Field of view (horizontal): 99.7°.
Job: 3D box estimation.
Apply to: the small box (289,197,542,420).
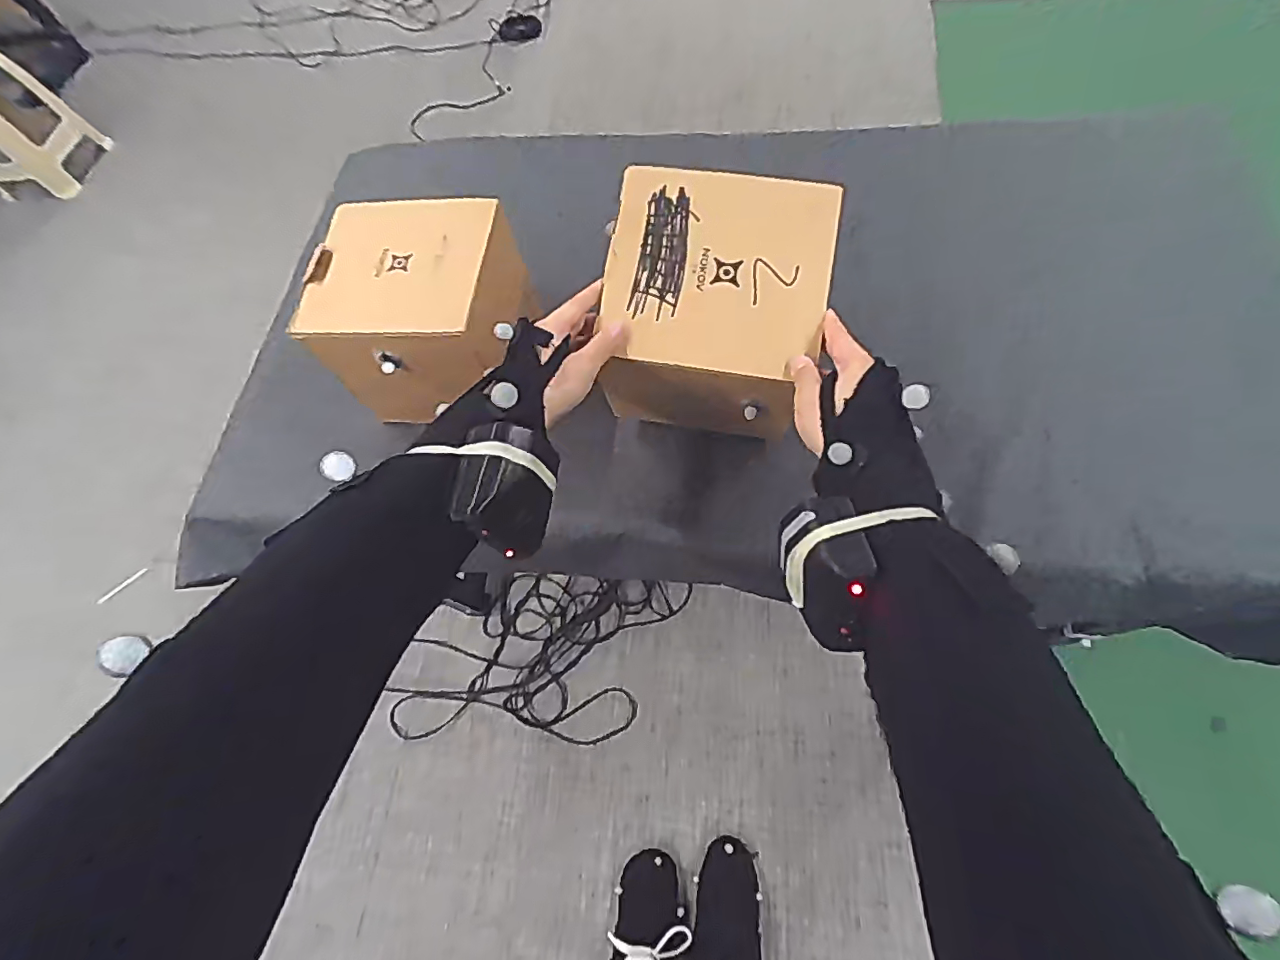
[{"bbox_3d":[-0.223,-0.176,0.589,0.179,0.176,0.168,2,68,7],"label":"small box"}]
